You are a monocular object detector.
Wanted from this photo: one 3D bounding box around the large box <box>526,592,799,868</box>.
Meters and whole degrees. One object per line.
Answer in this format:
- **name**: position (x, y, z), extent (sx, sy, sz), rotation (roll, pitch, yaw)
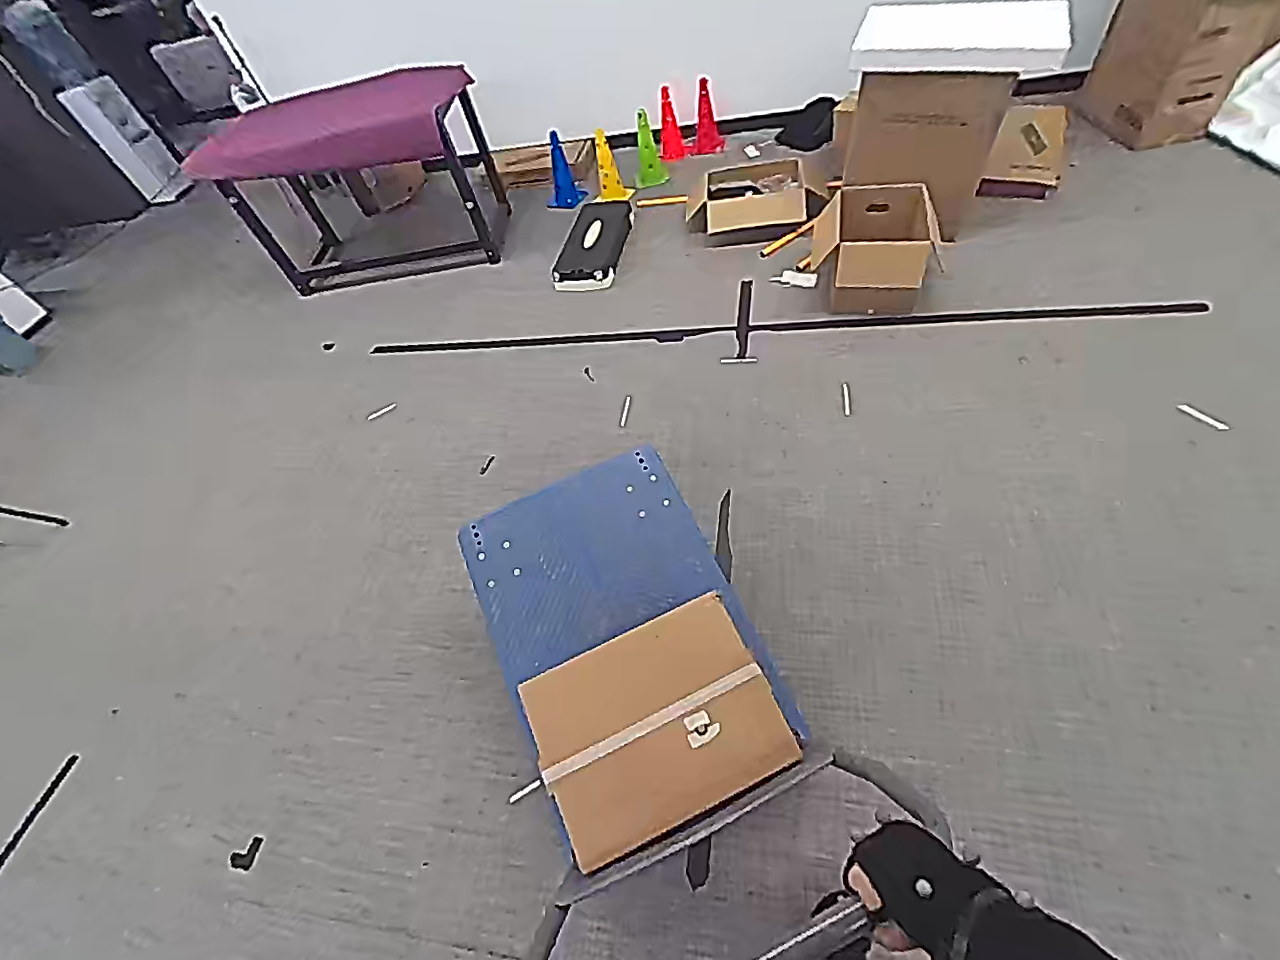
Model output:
- **large box**: position (0.039, 0.484, 1.088), extent (0.408, 0.320, 0.320), rotation (-24, 67, -8)
